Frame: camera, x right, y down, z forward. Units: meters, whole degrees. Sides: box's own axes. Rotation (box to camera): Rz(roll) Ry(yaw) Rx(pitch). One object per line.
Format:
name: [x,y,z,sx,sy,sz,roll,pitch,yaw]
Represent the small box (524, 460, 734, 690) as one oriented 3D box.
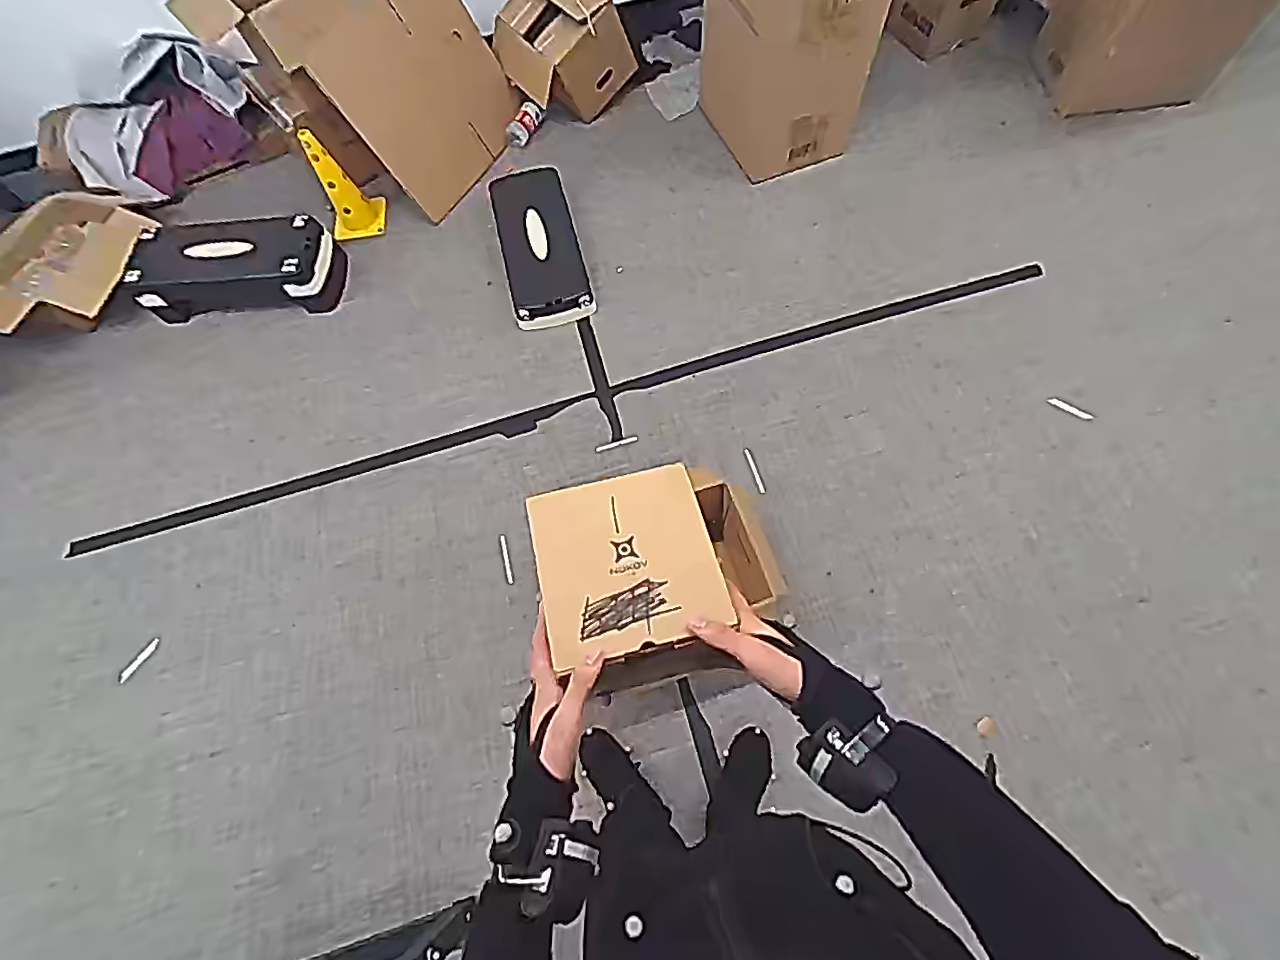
small box: [-0.013,0.109,0.564,0.168,0.176,0.179,-13,60,-6]
